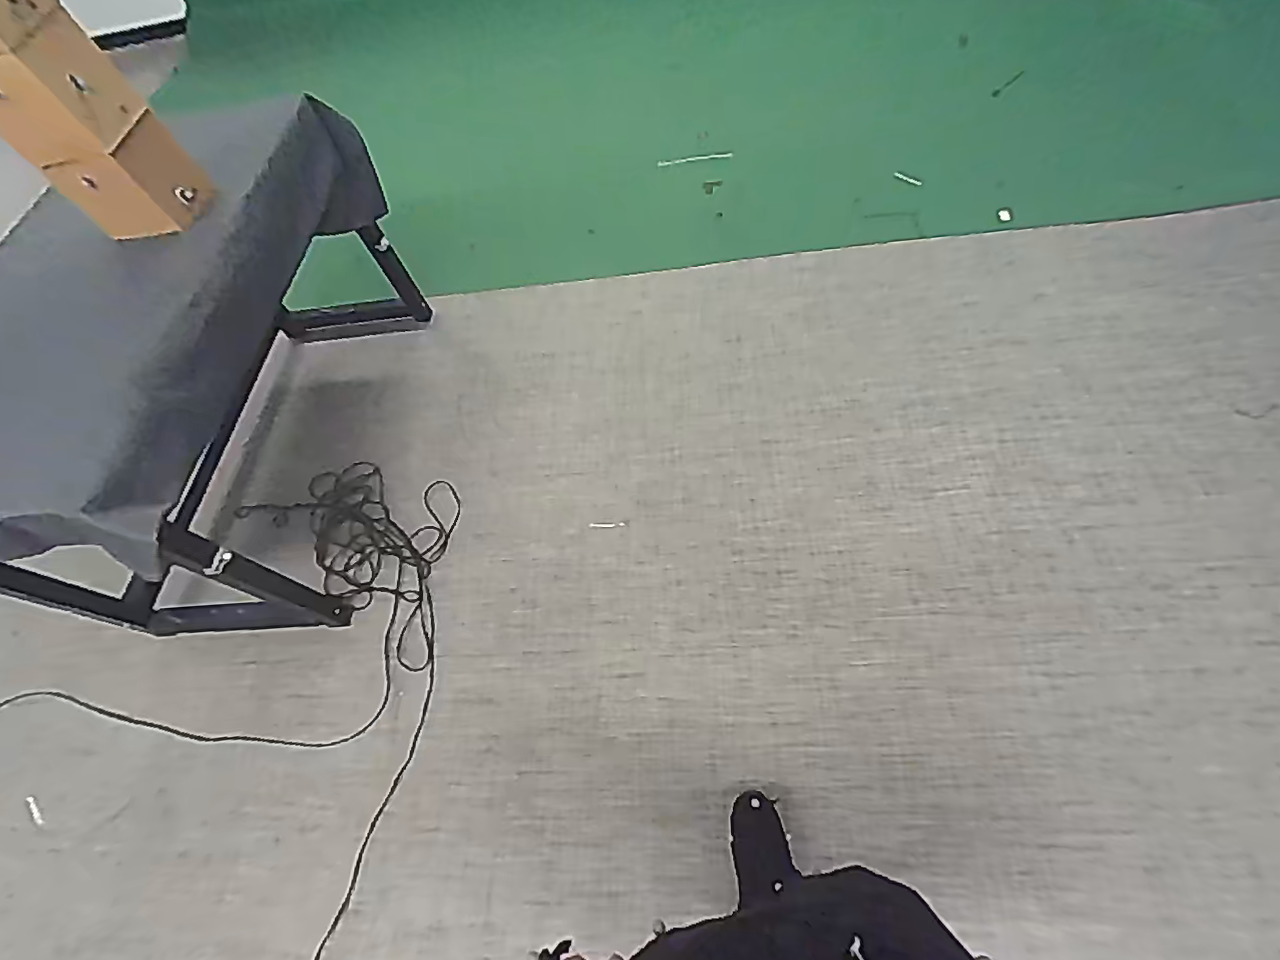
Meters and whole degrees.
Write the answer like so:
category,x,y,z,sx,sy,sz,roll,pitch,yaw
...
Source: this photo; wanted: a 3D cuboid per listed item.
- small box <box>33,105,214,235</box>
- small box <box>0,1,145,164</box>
category,x,y,z,sx,sy,sz,roll,pitch,yaw
small box,-1.049,-0.631,1.116,0.179,0.176,0.168,-3,62,7
small box,-1.065,-0.706,0.973,0.179,0.176,0.168,-5,61,8
